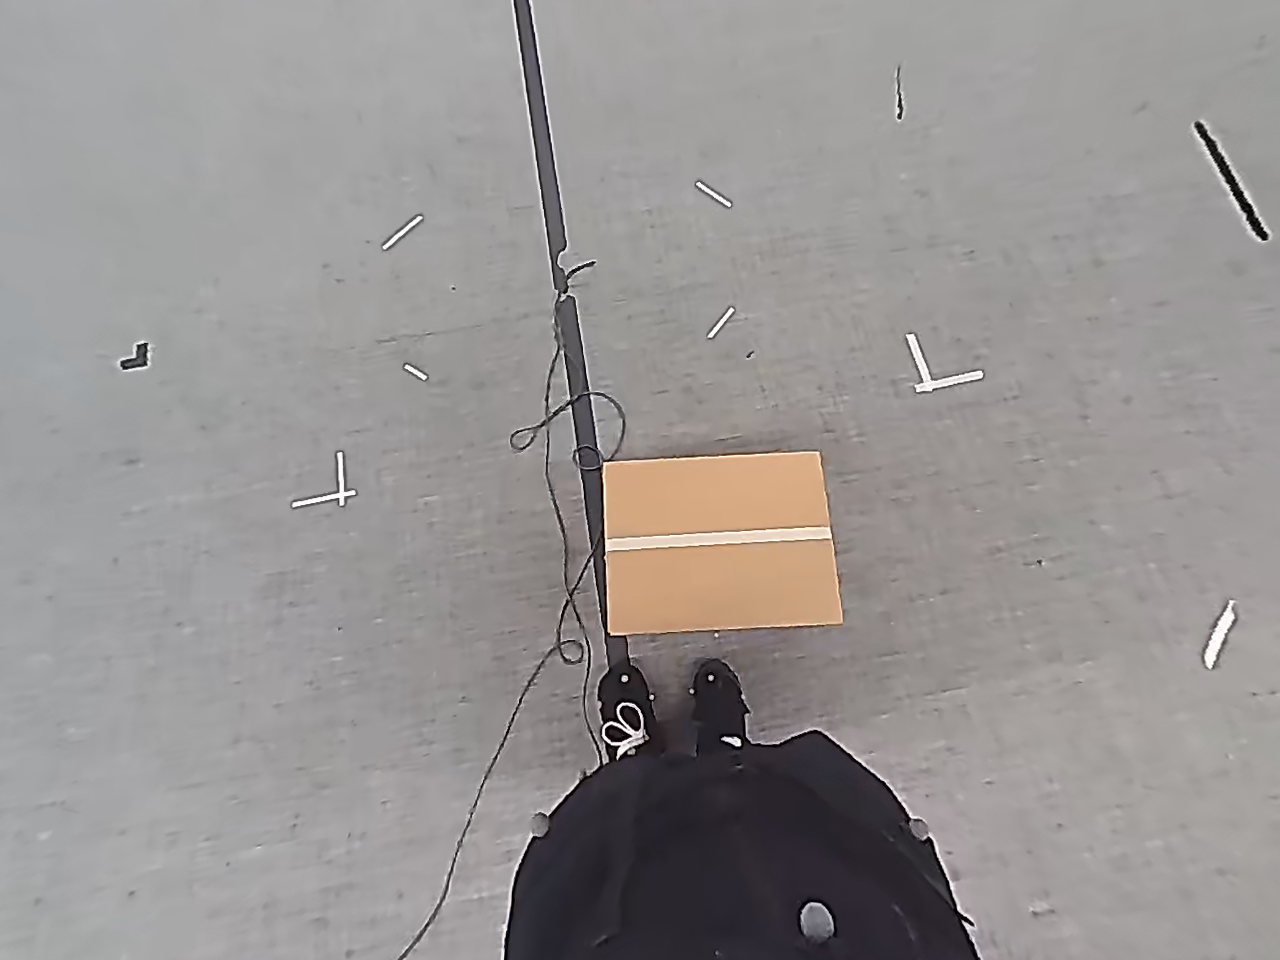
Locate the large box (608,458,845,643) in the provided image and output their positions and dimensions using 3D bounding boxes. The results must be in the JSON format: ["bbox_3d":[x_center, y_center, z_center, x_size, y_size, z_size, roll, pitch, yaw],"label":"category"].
[{"bbox_3d":[0.149,0.156,1.112,0.408,0.320,0.320,-3,76,0],"label":"large box"}]
